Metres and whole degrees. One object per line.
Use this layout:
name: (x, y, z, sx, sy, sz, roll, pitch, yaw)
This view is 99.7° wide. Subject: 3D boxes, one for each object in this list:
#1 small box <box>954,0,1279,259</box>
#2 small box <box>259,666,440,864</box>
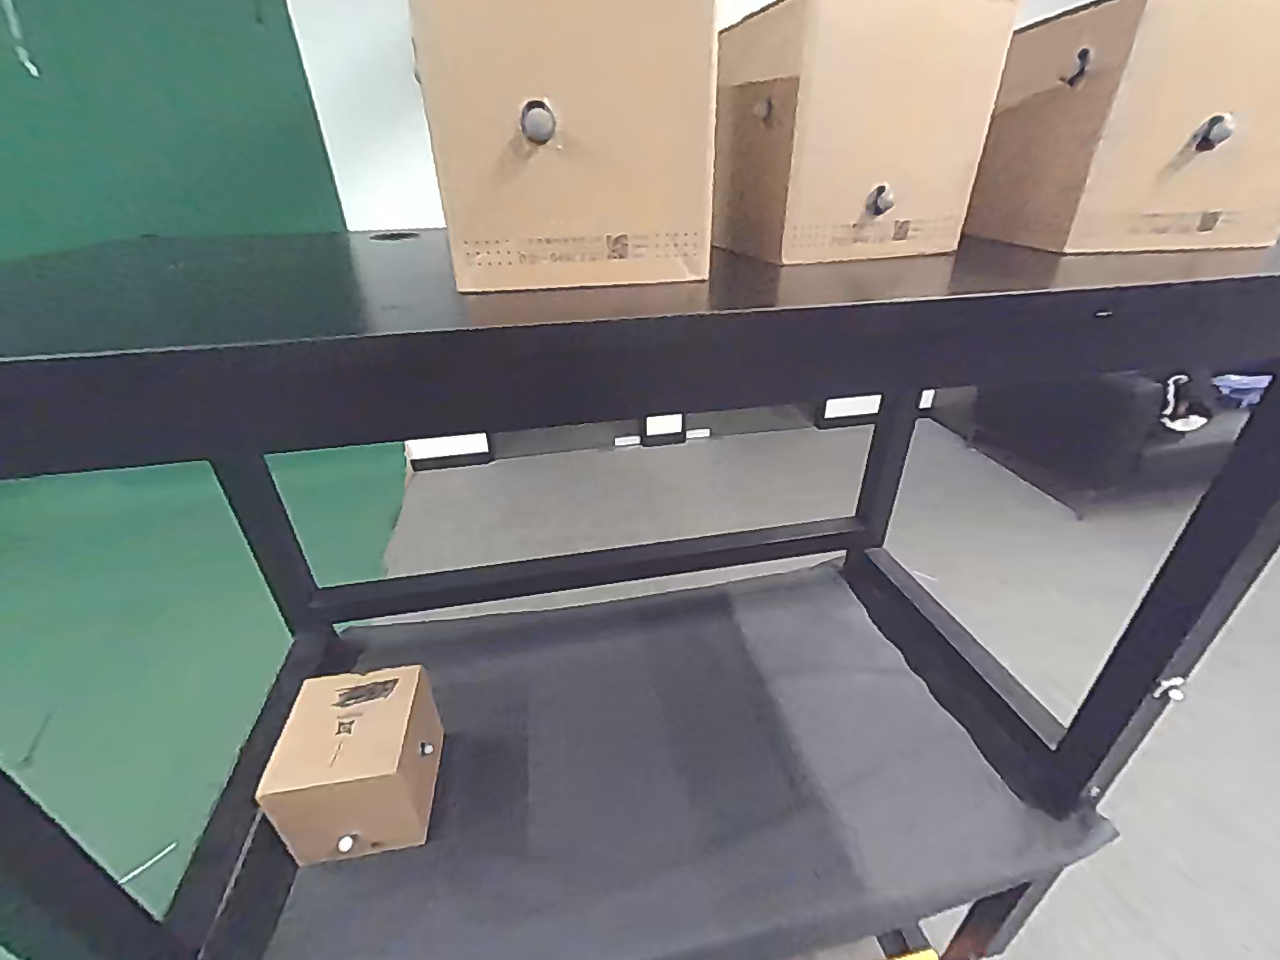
small box: (0.411, -0.290, 0.468, 0.168, 0.176, 0.179, -1, 30, 1)
small box: (-0.392, 0.399, 0.769, 0.168, 0.176, 0.179, -6, 30, -8)
